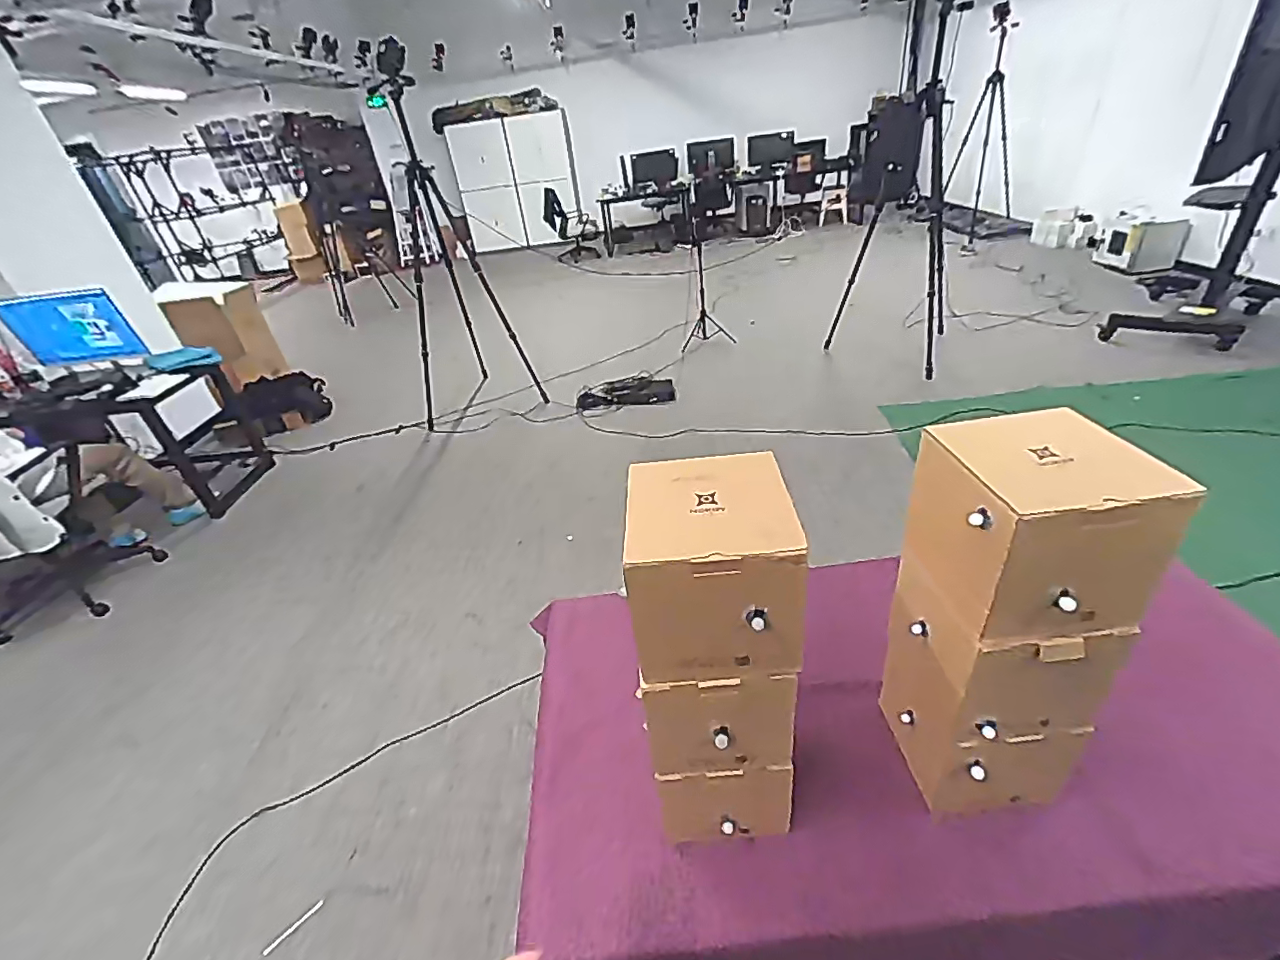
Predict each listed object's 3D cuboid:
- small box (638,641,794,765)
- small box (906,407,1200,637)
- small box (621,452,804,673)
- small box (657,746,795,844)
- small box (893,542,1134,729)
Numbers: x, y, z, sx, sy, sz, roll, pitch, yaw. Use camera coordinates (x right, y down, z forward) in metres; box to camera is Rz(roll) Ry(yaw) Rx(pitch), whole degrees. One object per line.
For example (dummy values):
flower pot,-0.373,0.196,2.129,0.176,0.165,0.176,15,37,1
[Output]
small box,0.088,0.231,0.672,0.168,0.176,0.179,-7,33,2
small box,0.412,0.041,0.584,0.168,0.176,0.179,-8,33,1
small box,0.076,0.091,0.586,0.168,0.176,0.179,-5,32,4
small box,0.111,0.369,0.756,0.168,0.176,0.179,-8,32,3
small box,0.432,0.183,0.664,0.168,0.176,0.179,-8,31,2
